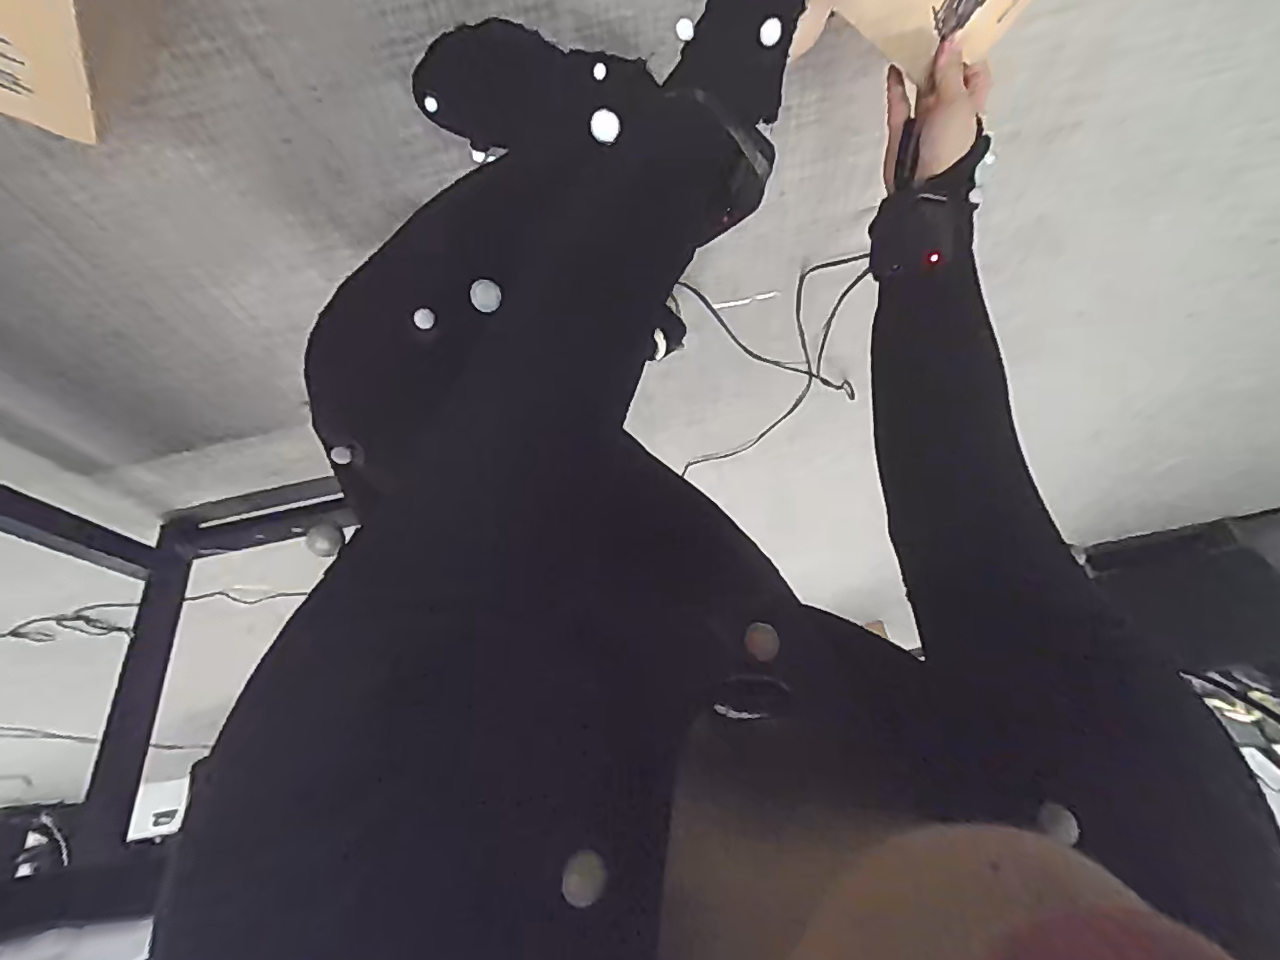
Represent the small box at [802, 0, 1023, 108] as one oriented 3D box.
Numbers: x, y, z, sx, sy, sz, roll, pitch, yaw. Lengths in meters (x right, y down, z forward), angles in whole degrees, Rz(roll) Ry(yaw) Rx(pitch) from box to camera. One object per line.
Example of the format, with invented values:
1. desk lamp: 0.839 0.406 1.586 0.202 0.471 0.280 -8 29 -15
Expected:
1. small box: 0.218 -0.459 0.435 0.179 0.176 0.168 15 140 -28
